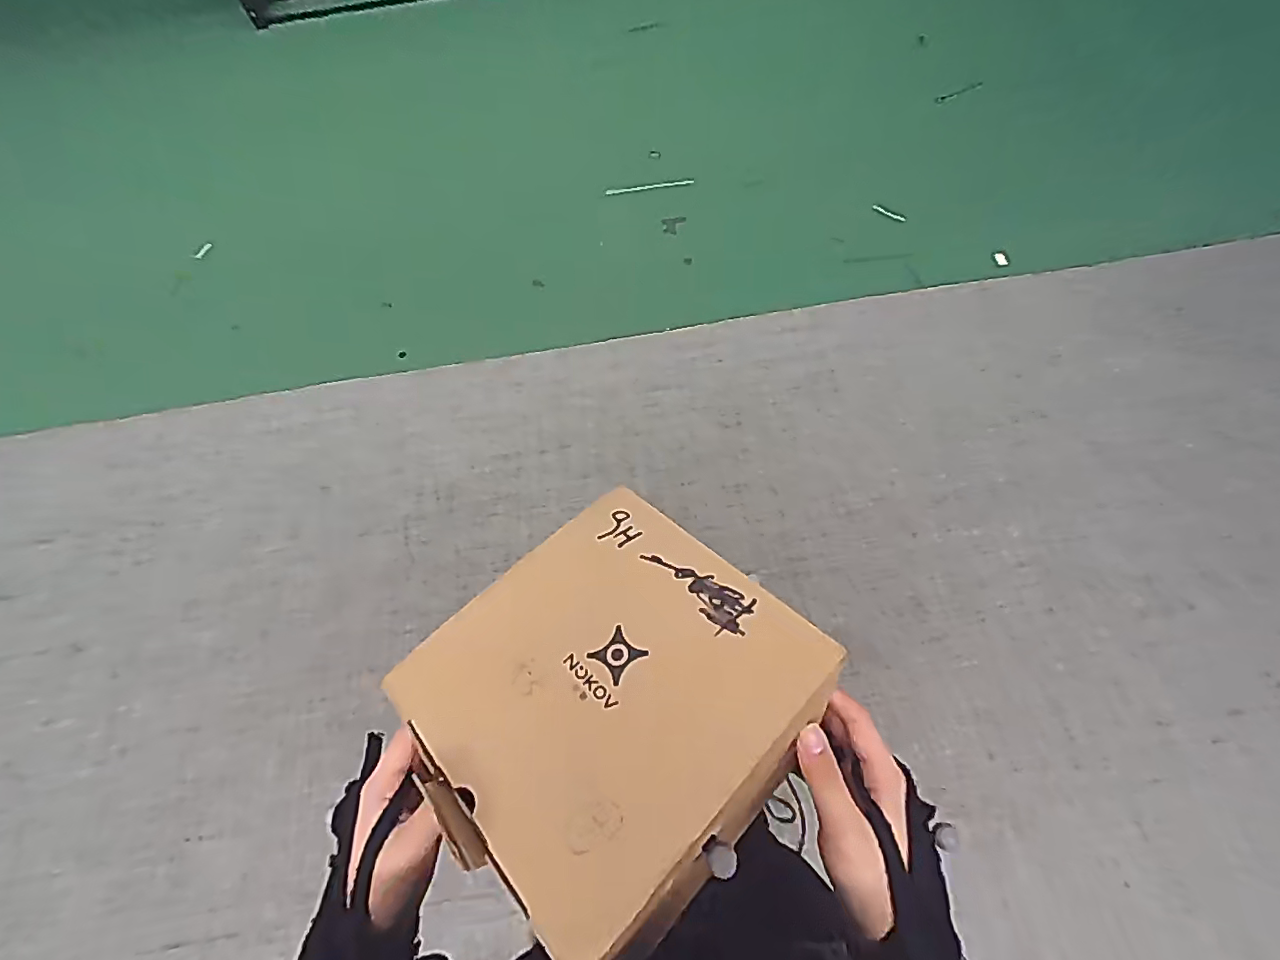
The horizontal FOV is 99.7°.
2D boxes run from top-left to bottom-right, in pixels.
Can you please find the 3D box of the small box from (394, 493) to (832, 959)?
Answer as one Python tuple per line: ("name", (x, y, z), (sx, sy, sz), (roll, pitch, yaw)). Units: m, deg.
("small box", (-0.006, 0.149, 0.339), (0.179, 0.176, 0.168), (-40, 55, -22))
